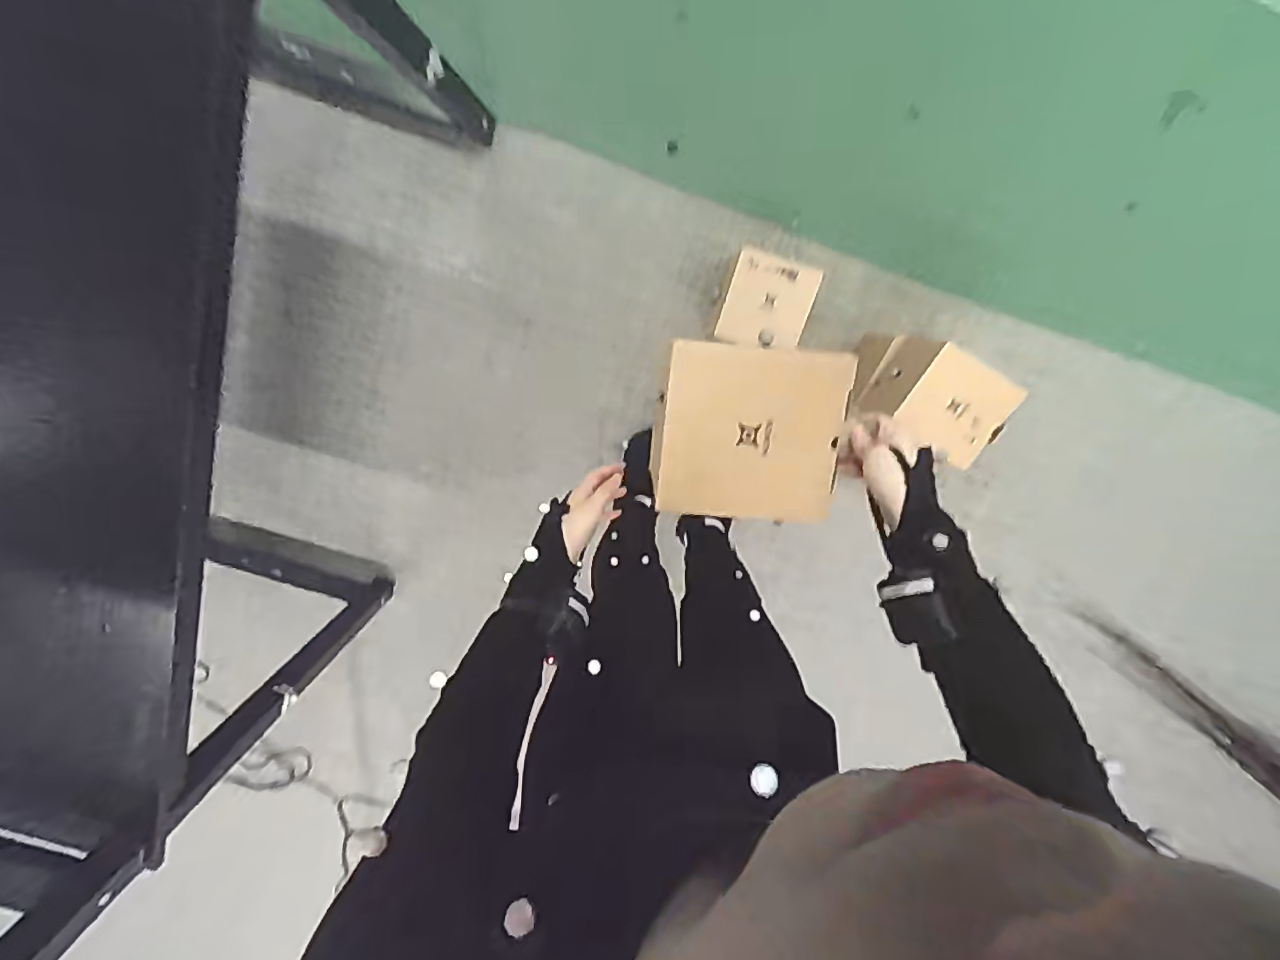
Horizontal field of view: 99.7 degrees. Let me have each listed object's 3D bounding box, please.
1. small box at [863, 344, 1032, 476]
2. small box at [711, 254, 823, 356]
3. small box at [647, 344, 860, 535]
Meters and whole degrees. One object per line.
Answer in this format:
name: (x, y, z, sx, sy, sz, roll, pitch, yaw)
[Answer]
small box: (0.546, -0.135, 0.992, 0.179, 0.176, 0.168, 29, 106, -6)
small box: (0.249, -0.343, 1.115, 0.168, 0.176, 0.179, 17, 106, -2)
small box: (0.101, -0.051, 0.573, 0.179, 0.176, 0.168, 4, 104, -4)
